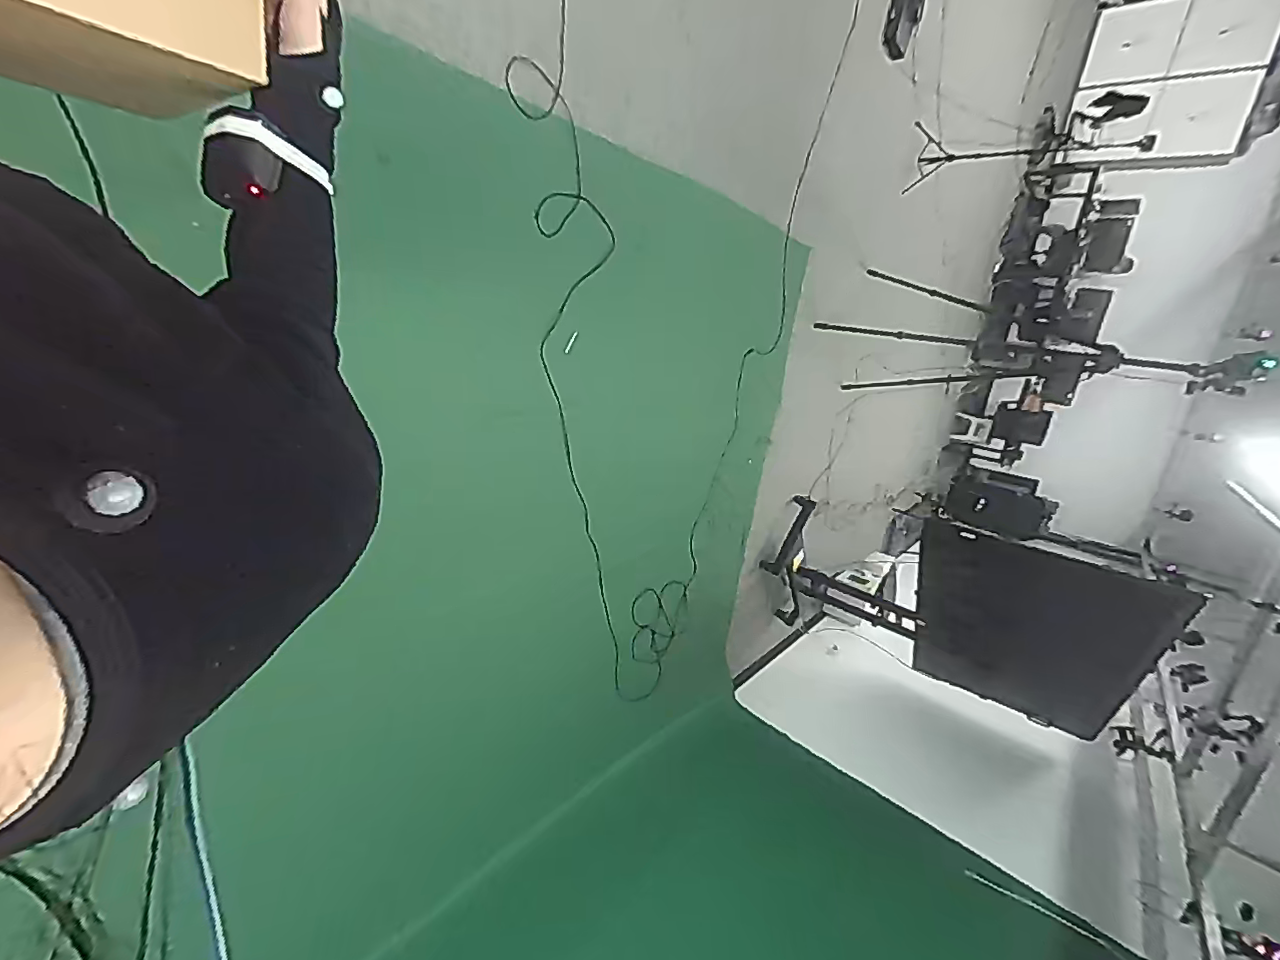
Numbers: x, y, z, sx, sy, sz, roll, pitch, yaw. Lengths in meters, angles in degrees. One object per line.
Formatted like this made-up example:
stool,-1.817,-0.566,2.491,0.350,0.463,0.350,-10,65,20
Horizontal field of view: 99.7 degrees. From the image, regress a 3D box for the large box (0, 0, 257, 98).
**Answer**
large box,-0.525,-0.481,0.324,0.408,0.320,0.320,-14,118,-49
